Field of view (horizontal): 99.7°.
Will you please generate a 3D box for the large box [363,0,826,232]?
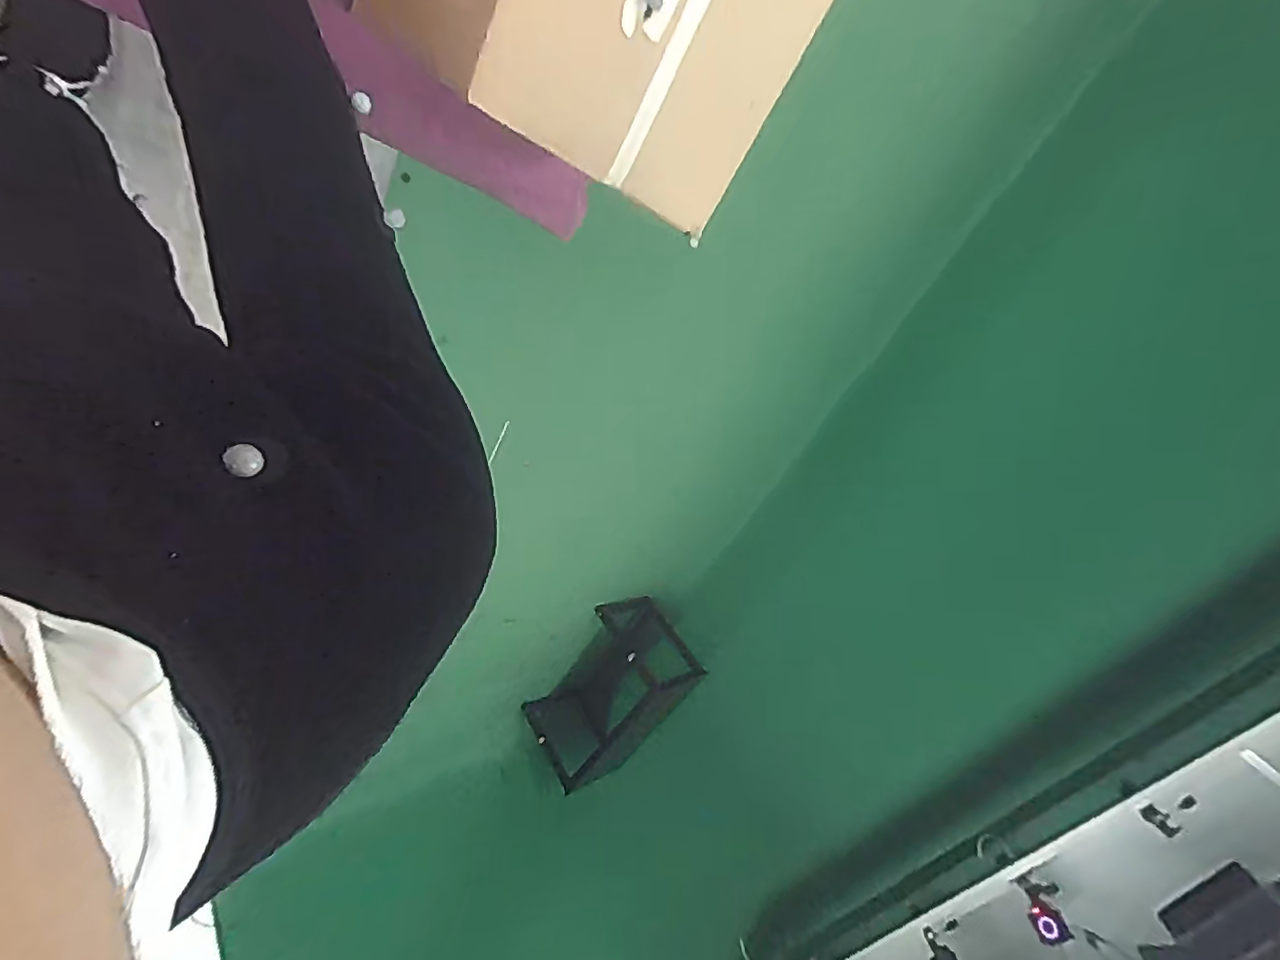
[{"bbox_3d":[-0.021,-0.546,0.530,0.320,0.320,0.408,1,131,-48],"label":"large box"}]
